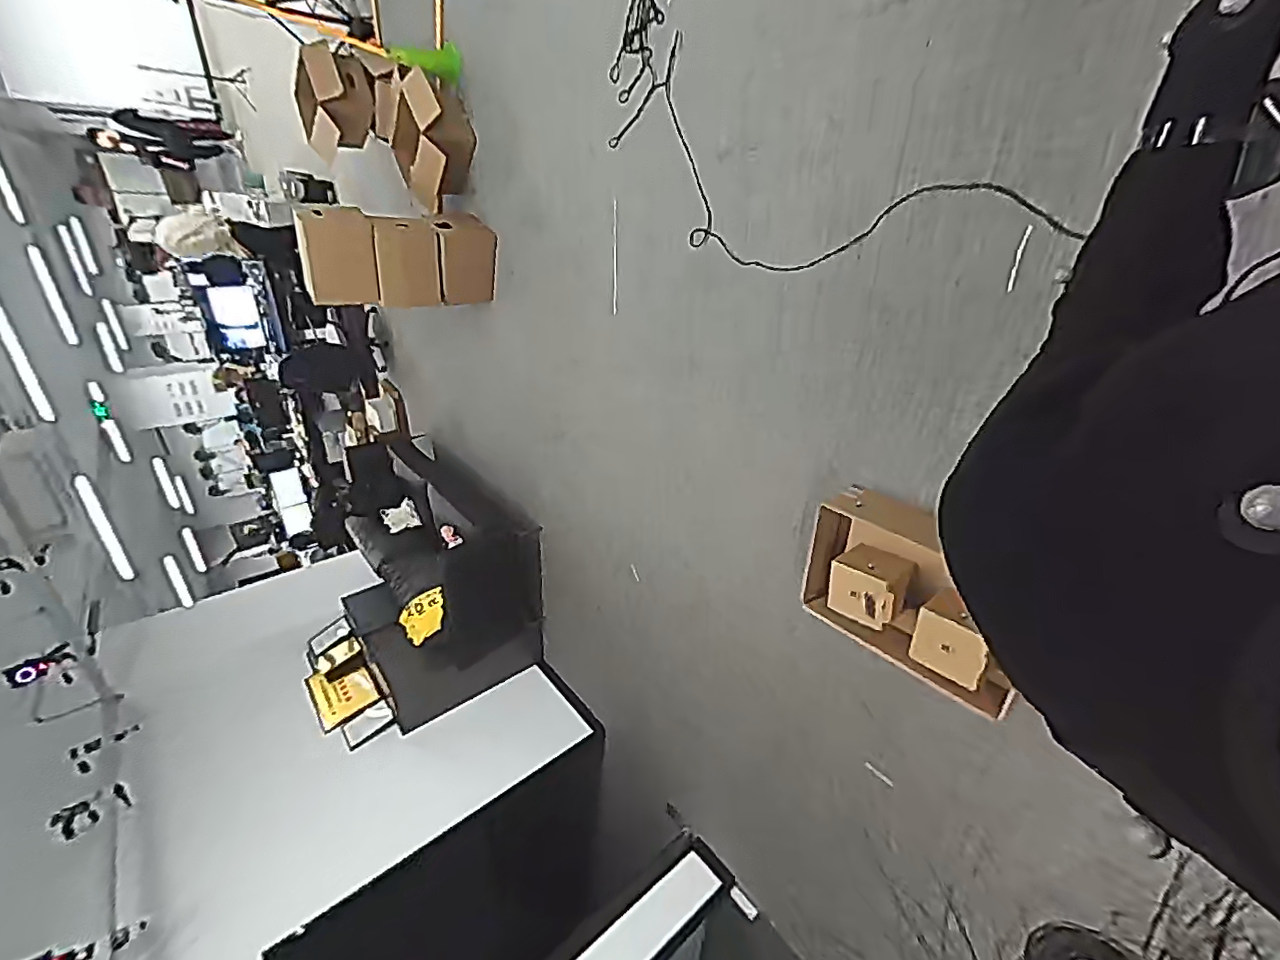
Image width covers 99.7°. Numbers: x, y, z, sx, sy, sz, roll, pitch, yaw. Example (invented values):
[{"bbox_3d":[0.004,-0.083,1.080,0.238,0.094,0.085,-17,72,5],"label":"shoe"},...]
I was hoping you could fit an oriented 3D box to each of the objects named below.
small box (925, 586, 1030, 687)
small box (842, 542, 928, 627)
[{"bbox_3d":[0.904,0.407,1.447,0.179,0.176,0.168,27,125,47],"label":"small box"},{"bbox_3d":[0.739,0.306,1.629,0.179,0.176,0.168,21,122,48],"label":"small box"}]
